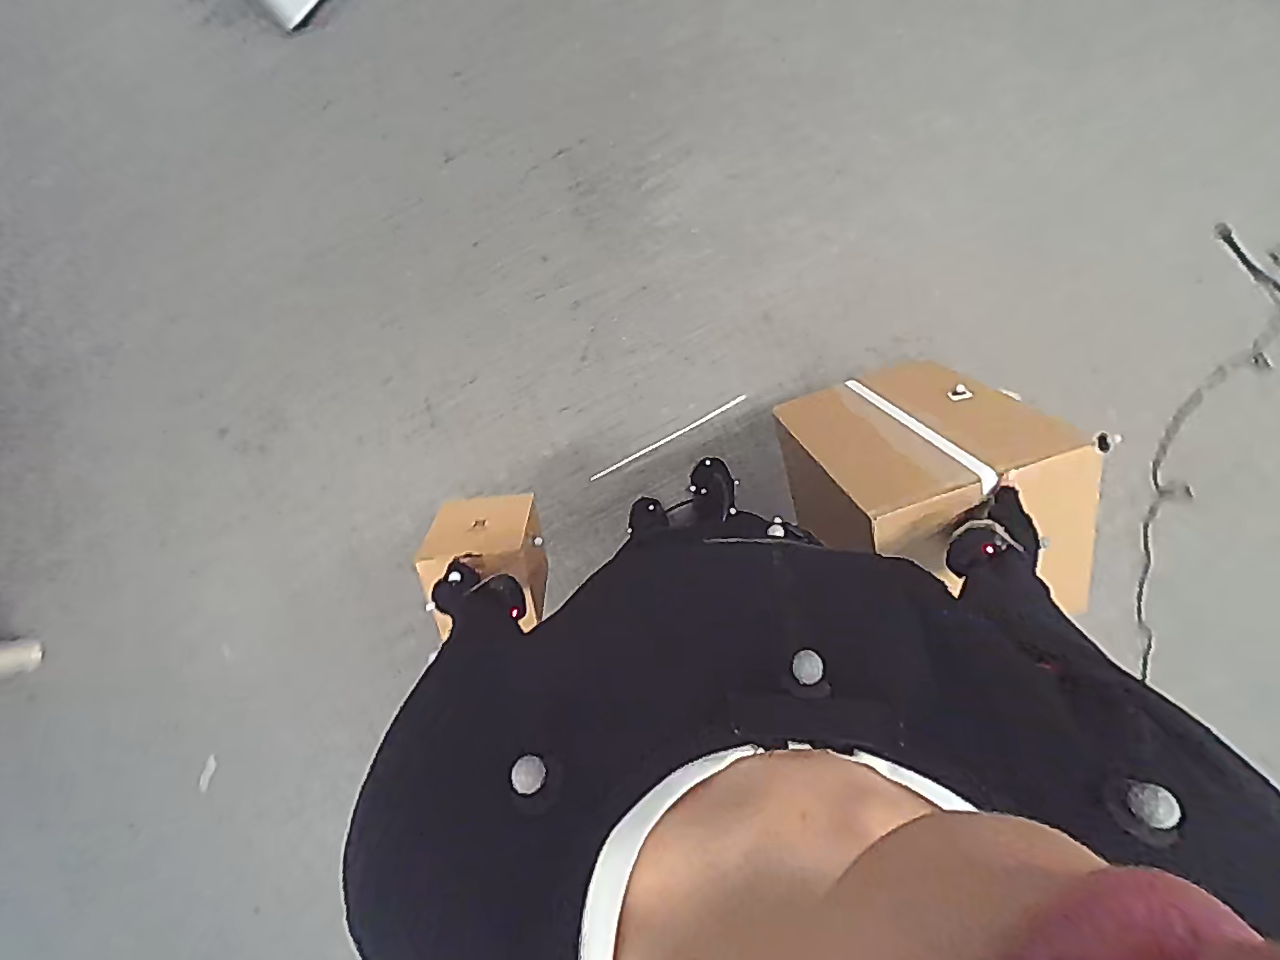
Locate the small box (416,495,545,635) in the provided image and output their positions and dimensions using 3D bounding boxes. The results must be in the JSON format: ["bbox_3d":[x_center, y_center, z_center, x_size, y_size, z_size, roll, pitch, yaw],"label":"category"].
[{"bbox_3d":[-0.263,0.144,0.940,0.168,0.179,0.176,-4,120,-1],"label":"small box"}]
